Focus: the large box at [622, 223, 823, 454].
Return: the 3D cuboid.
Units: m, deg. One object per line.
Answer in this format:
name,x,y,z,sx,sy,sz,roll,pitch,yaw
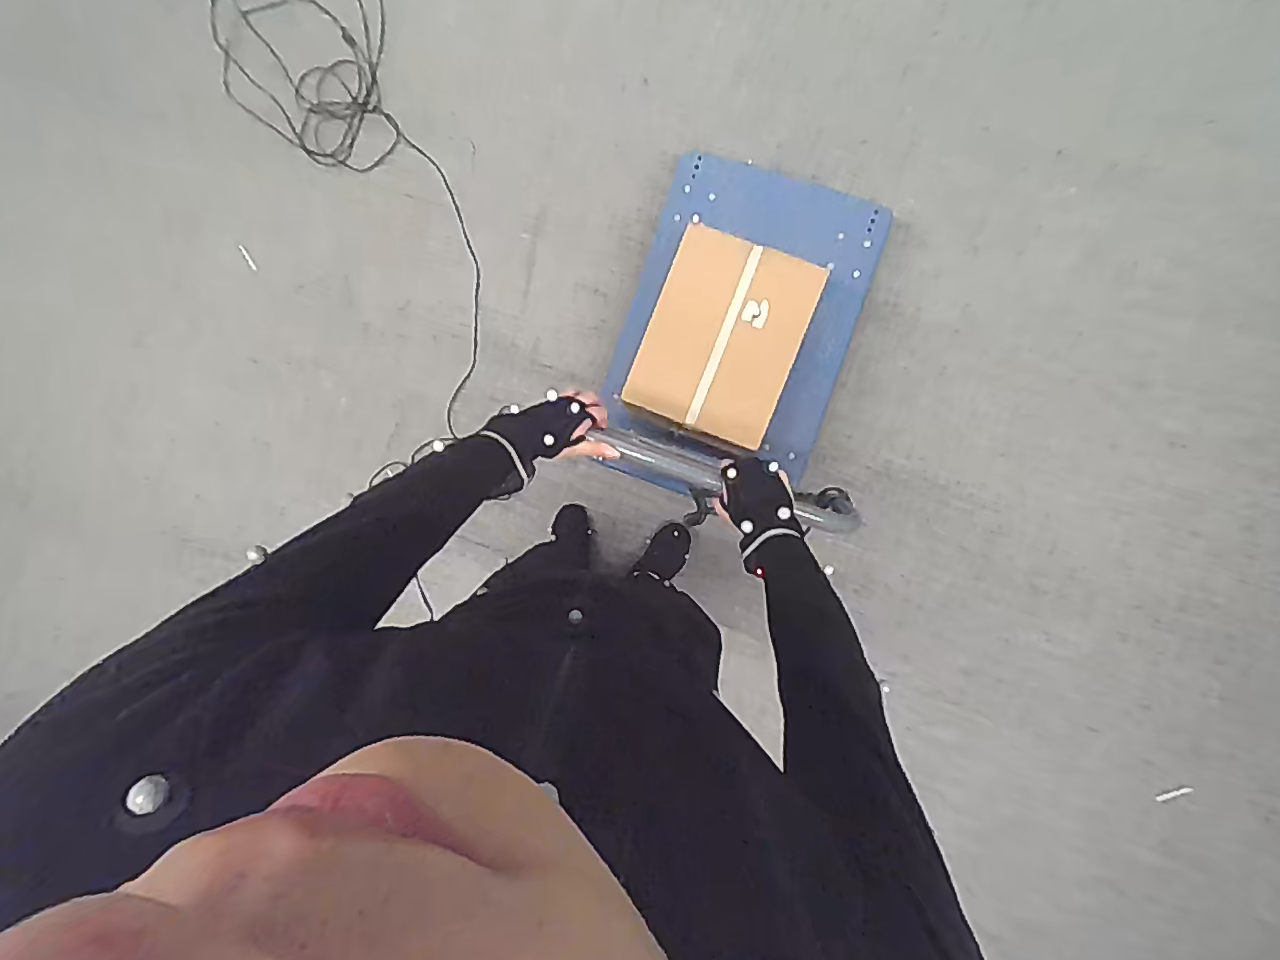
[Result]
large box,0.182,-0.305,1.285,0.320,0.320,0.408,22,91,3
